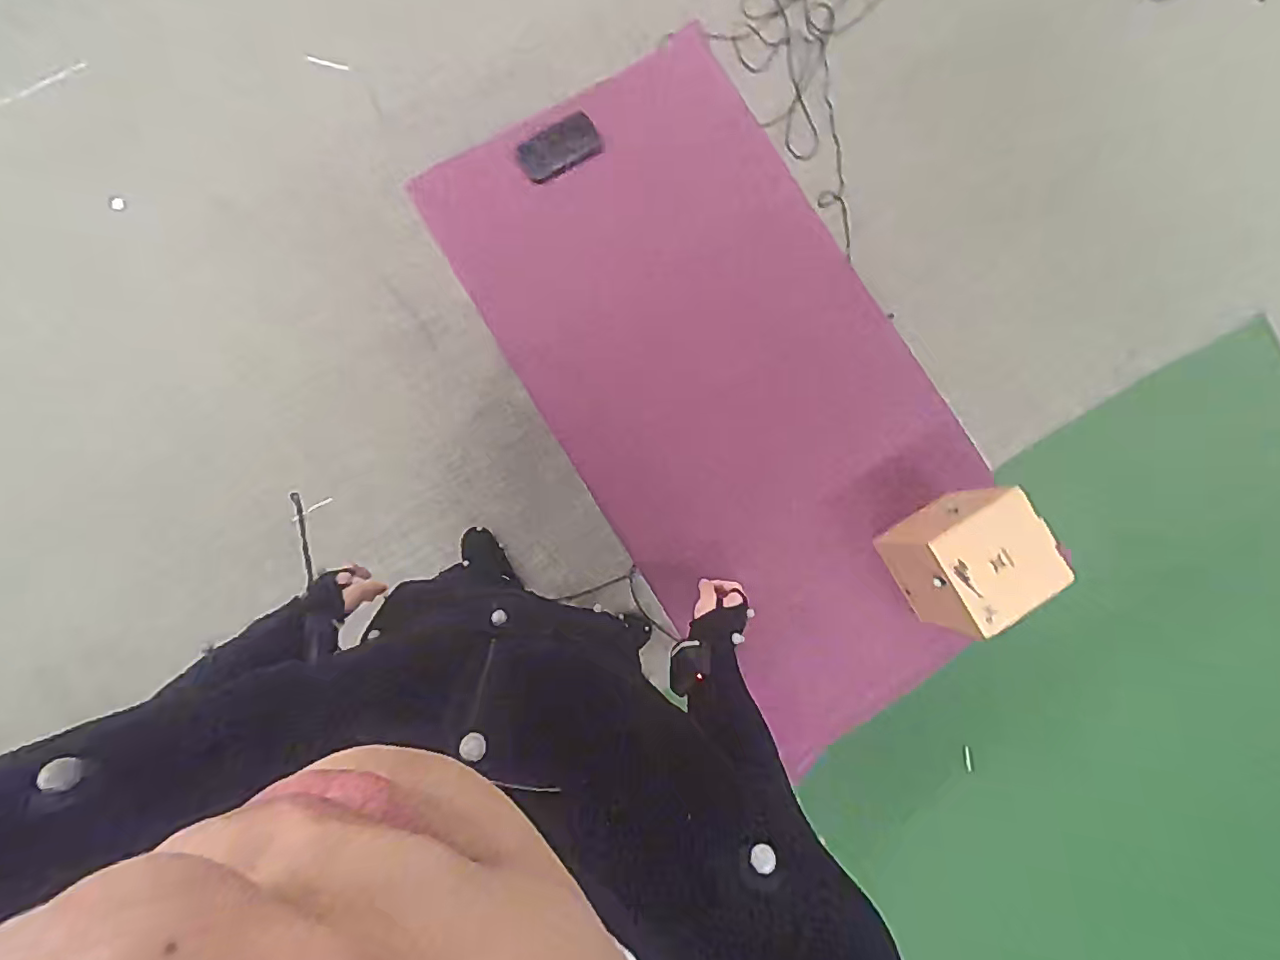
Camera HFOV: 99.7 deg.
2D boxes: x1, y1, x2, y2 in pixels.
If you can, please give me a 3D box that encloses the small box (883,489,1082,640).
[{"bbox_3d":[0.539,0.129,0.877,0.179,0.176,0.168,-30,87,-6],"label":"small box"}]
